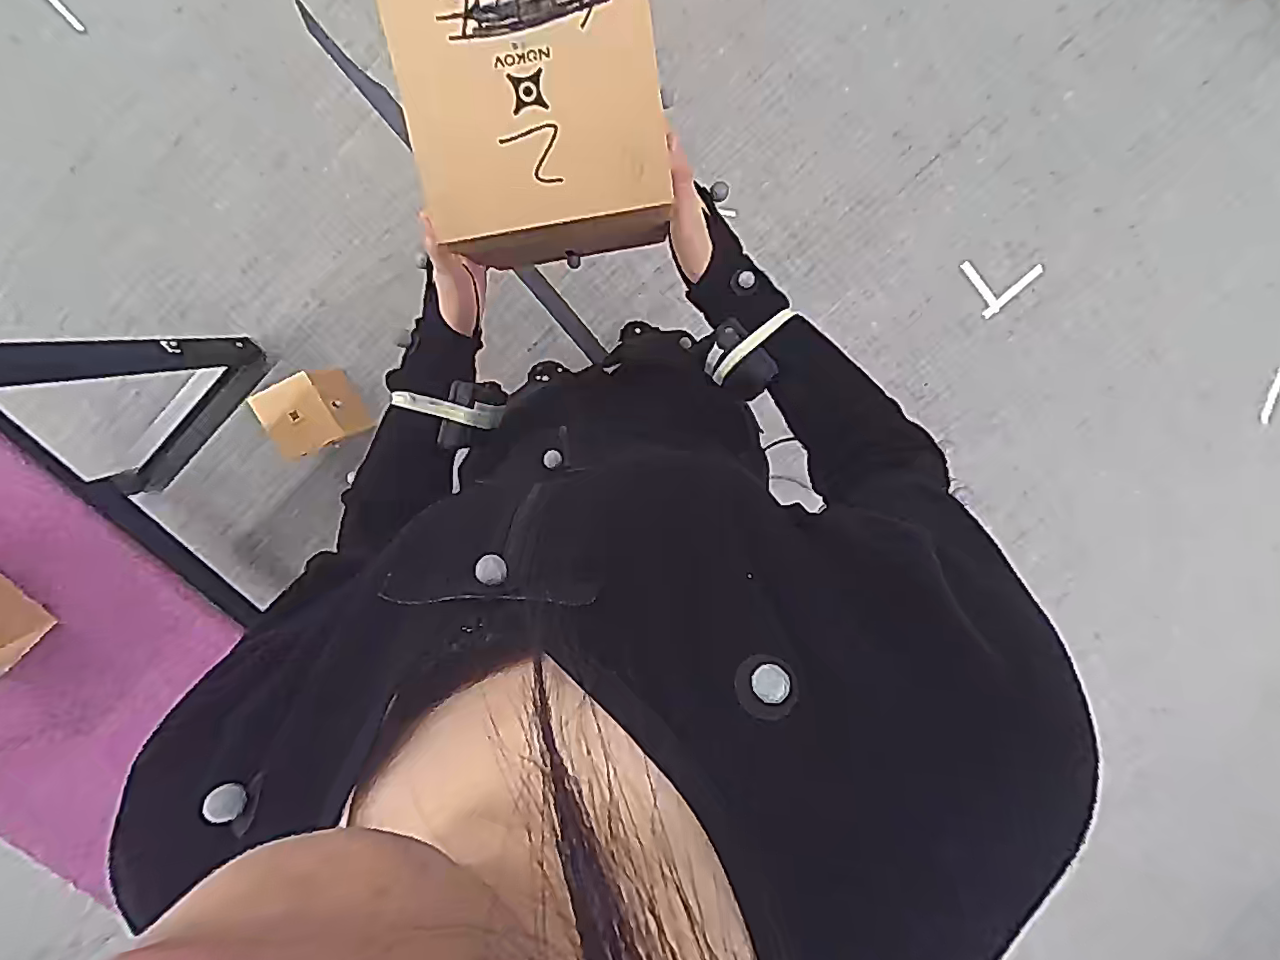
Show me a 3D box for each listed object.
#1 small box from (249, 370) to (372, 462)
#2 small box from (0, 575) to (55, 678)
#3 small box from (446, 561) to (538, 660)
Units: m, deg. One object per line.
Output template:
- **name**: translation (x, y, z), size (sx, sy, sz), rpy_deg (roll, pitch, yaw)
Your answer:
- **small box**: translation (-0.827, -0.171, 1.376), size (0.168, 0.176, 0.179), rpy_deg (-24, 105, 5)
- **small box**: translation (-0.980, 0.217, 0.723), size (0.168, 0.176, 0.179), rpy_deg (-38, 103, 10)
- **small box**: translation (-0.405, 0.358, 1.522), size (0.179, 0.176, 0.168), rpy_deg (-39, 102, 11)
